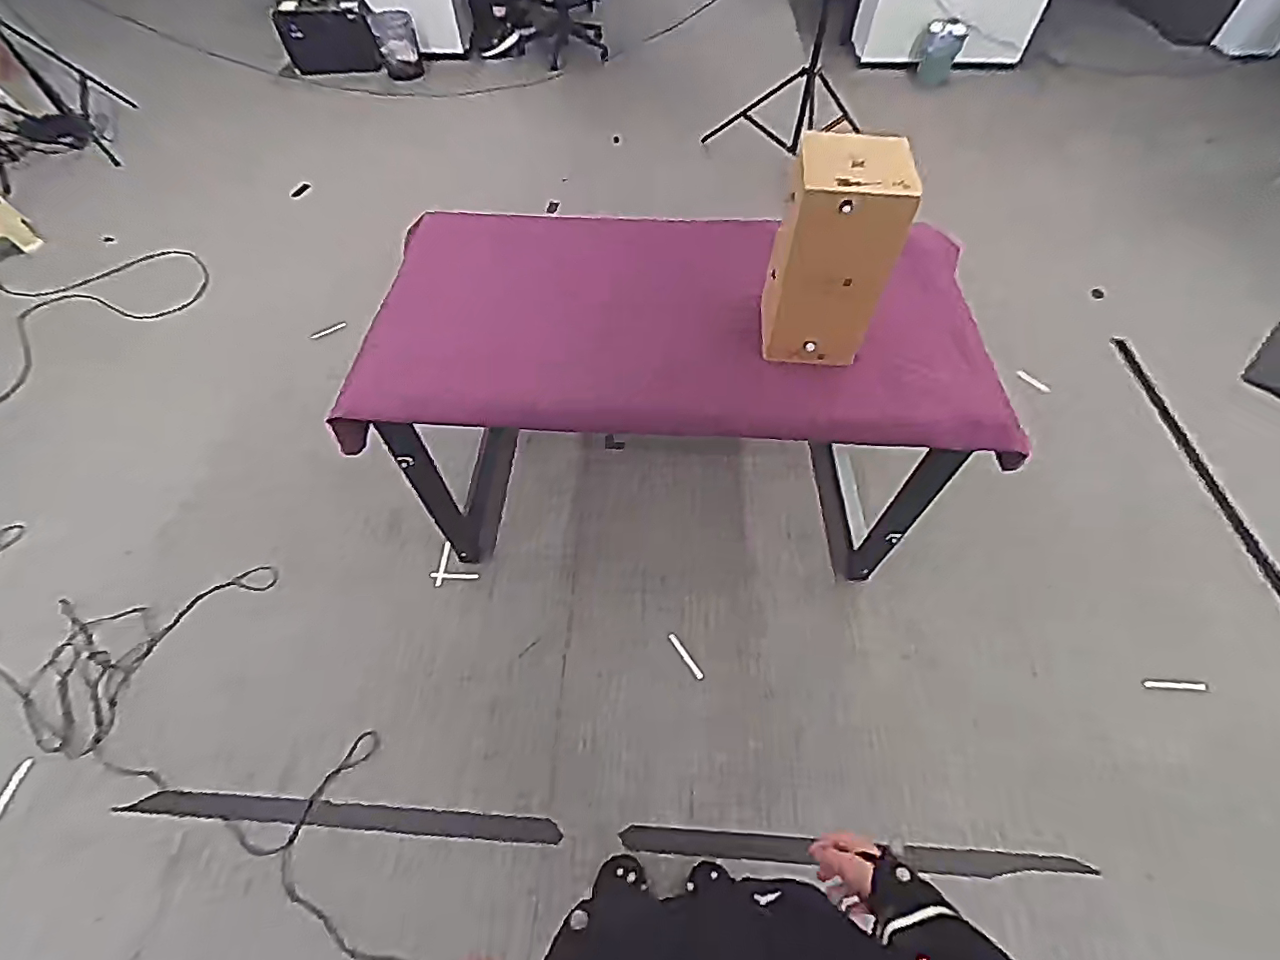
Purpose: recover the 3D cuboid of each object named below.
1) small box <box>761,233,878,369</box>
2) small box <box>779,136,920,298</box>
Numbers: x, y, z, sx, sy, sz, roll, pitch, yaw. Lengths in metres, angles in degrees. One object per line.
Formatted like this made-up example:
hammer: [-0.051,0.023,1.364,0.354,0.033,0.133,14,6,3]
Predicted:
small box: [0.322,-0.334,1.010,0.168,0.176,0.179,4,57,4]
small box: [0.322,-0.421,0.871,0.168,0.176,0.179,6,55,5]
